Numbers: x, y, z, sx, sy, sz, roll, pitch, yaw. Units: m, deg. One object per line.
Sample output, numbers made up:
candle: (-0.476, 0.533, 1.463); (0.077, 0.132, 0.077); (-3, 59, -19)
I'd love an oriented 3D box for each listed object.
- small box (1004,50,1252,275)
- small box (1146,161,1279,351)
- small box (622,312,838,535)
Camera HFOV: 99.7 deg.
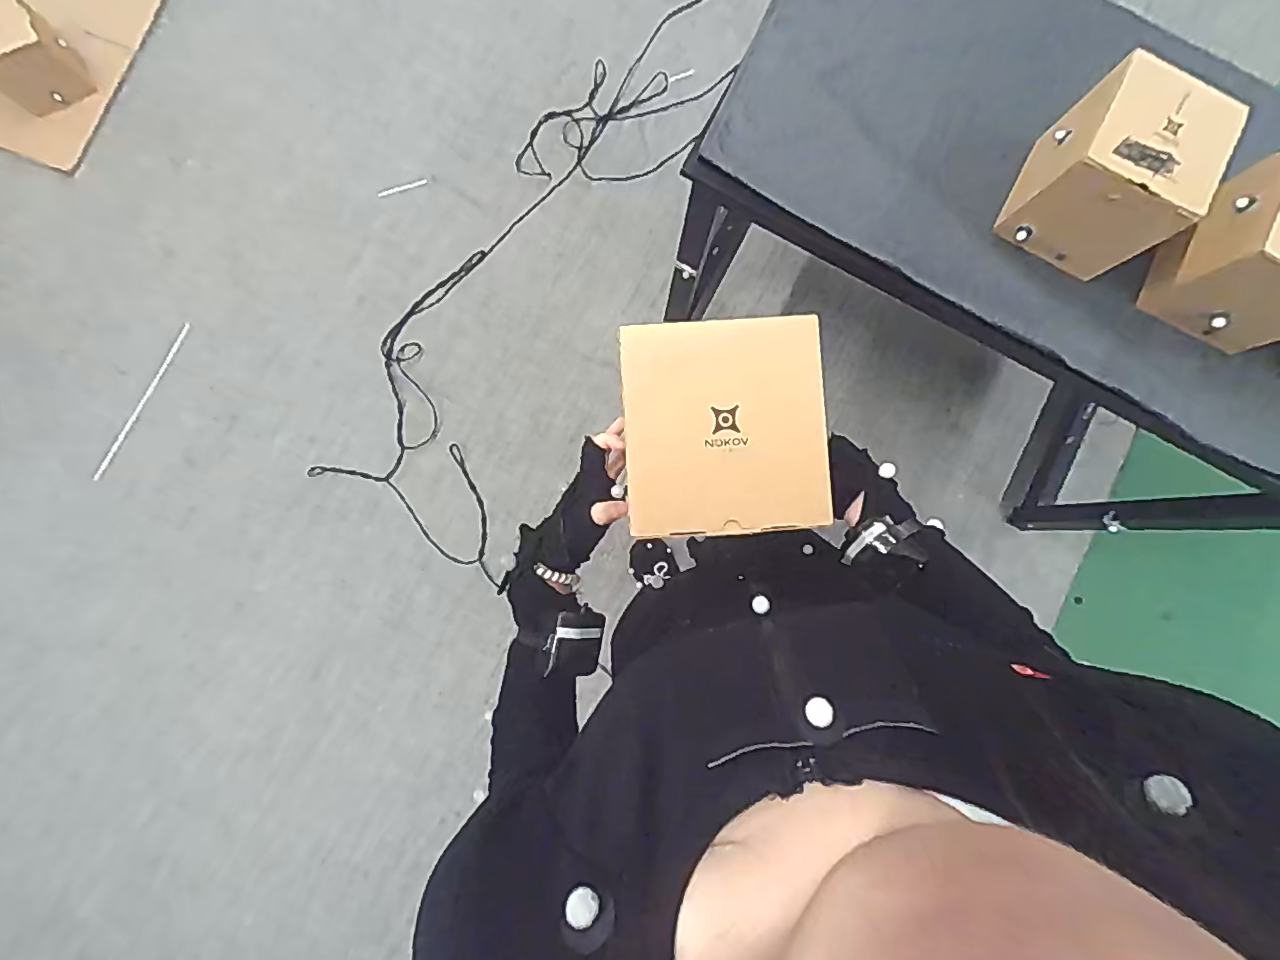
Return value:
small box: (0.654, -0.422, 0.750); (0.168, 0.176, 0.179); (29, 83, 0)
small box: (0.870, -0.311, 0.748); (0.168, 0.176, 0.179); (27, 84, 1)
small box: (0.070, -0.043, 0.513); (0.168, 0.176, 0.179); (-4, 88, -2)
